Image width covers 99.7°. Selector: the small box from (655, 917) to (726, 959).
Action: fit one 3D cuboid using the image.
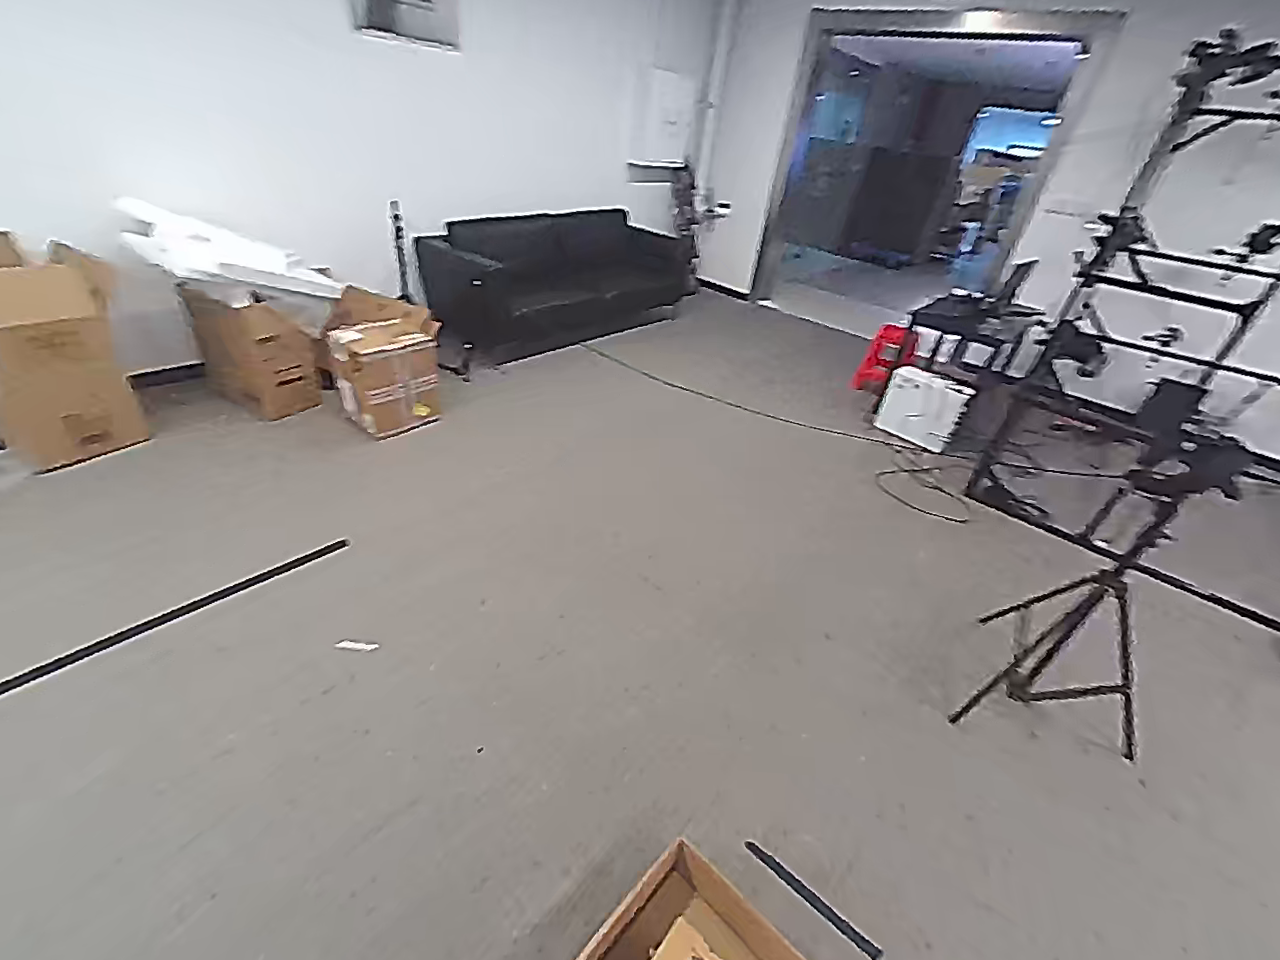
[{"bbox_3d":[0.086,1.035,1.067,0.168,0.176,0.179,30,39,29],"label":"small box"}]
